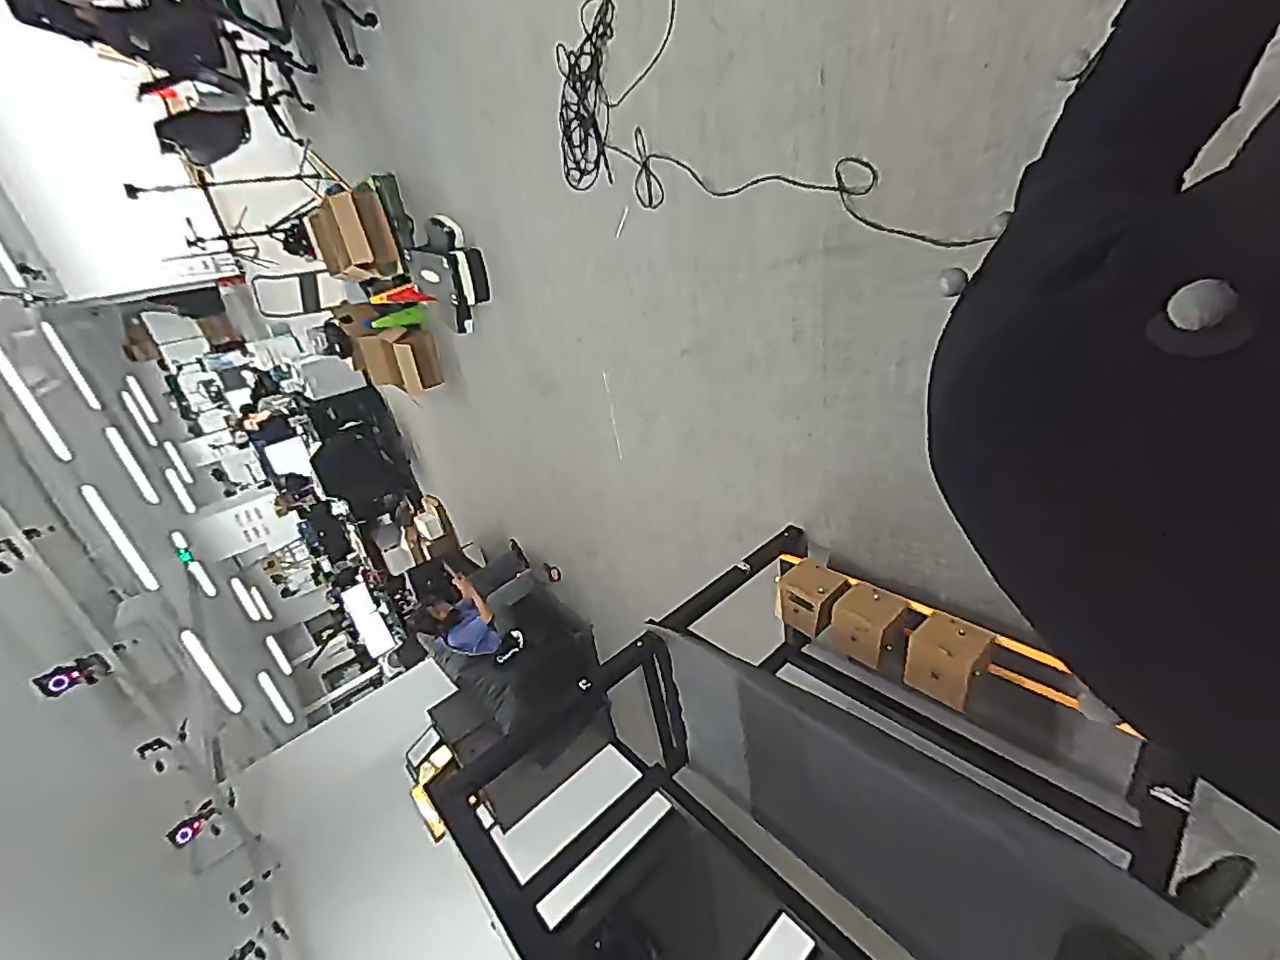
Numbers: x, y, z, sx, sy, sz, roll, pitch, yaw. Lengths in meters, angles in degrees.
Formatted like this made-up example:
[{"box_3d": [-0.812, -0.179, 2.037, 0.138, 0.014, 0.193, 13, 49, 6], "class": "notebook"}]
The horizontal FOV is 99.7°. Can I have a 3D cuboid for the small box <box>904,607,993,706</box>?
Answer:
[{"box_3d": [0.890, 0.503, 1.560, 0.168, 0.176, 0.179, 22, 128, 46], "class": "small box"}]
